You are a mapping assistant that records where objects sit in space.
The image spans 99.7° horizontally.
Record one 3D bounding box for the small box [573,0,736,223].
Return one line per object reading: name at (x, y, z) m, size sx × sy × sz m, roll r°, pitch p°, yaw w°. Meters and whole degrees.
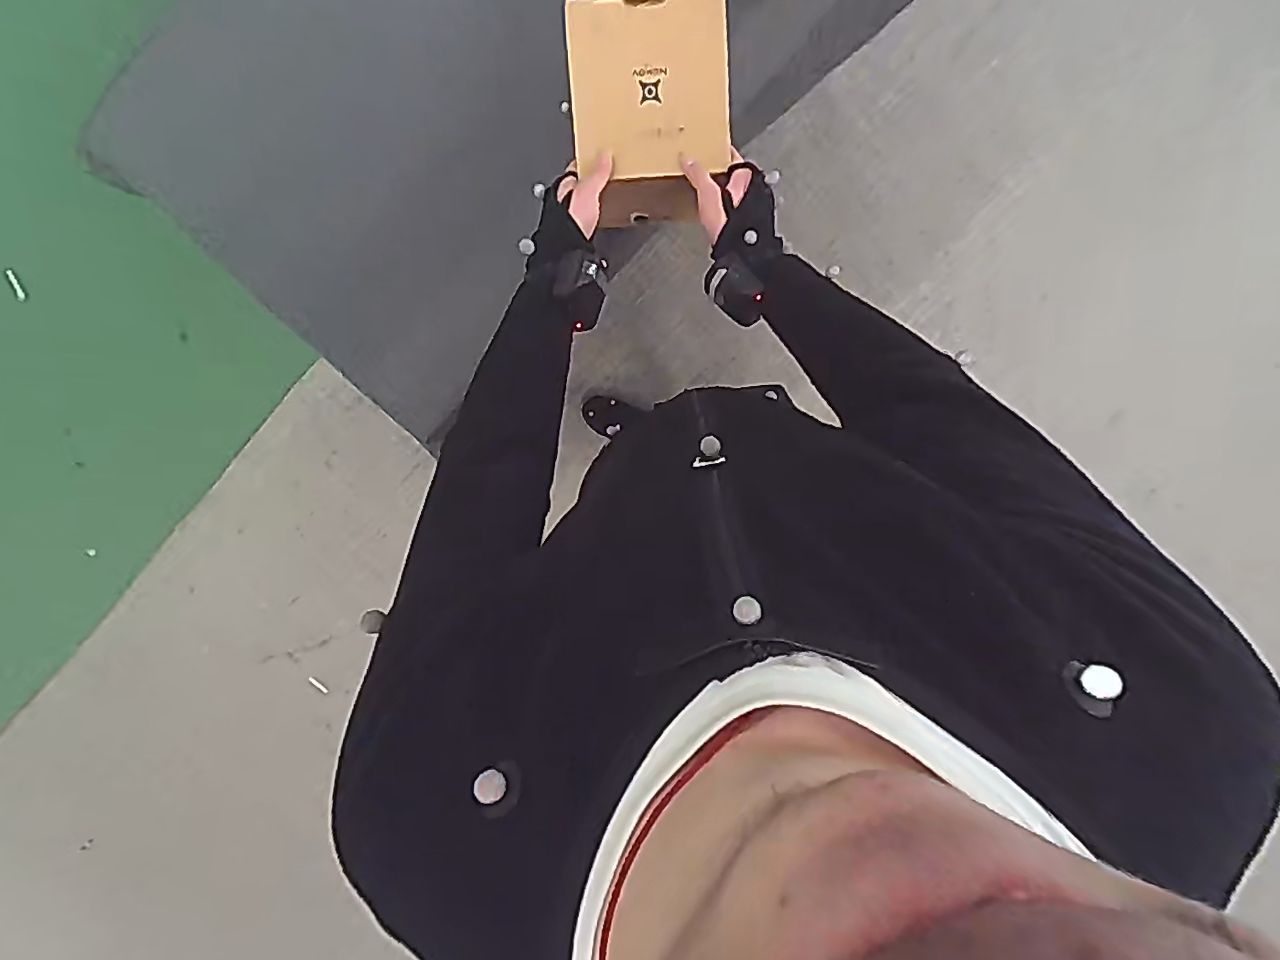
small box at (0.015, -0.415, 0.622) m, size 0.168 × 0.176 × 0.179 m, roll -1°, pitch 99°, yaw 1°
